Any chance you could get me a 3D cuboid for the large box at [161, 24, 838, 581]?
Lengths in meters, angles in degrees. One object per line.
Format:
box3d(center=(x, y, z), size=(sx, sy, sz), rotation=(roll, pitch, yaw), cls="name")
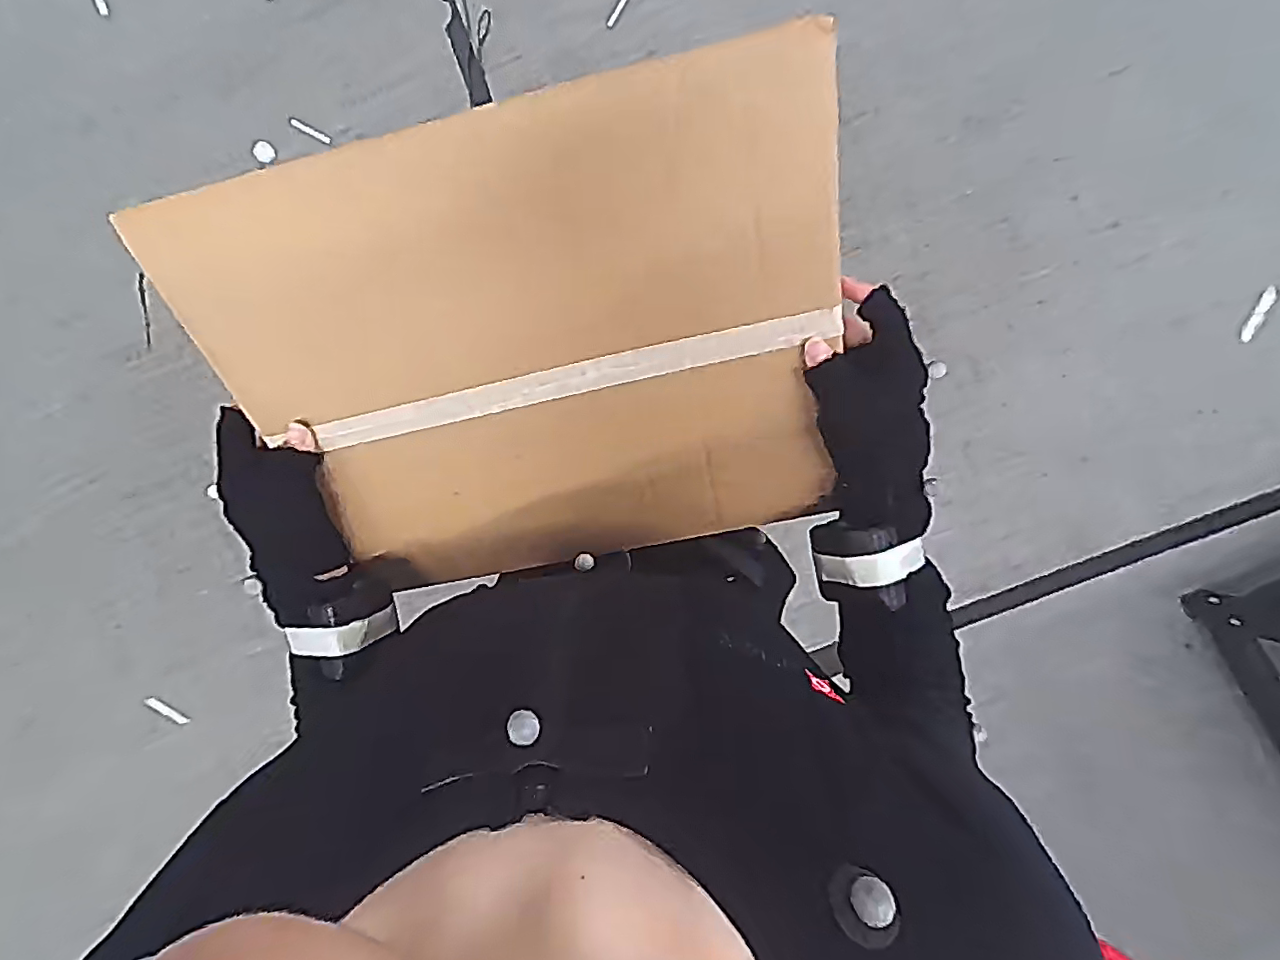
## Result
box3d(center=(-0.070, -0.153, 0.505), size=(0.408, 0.320, 0.320), rotation=(-11, 124, 6), cls="large box")
